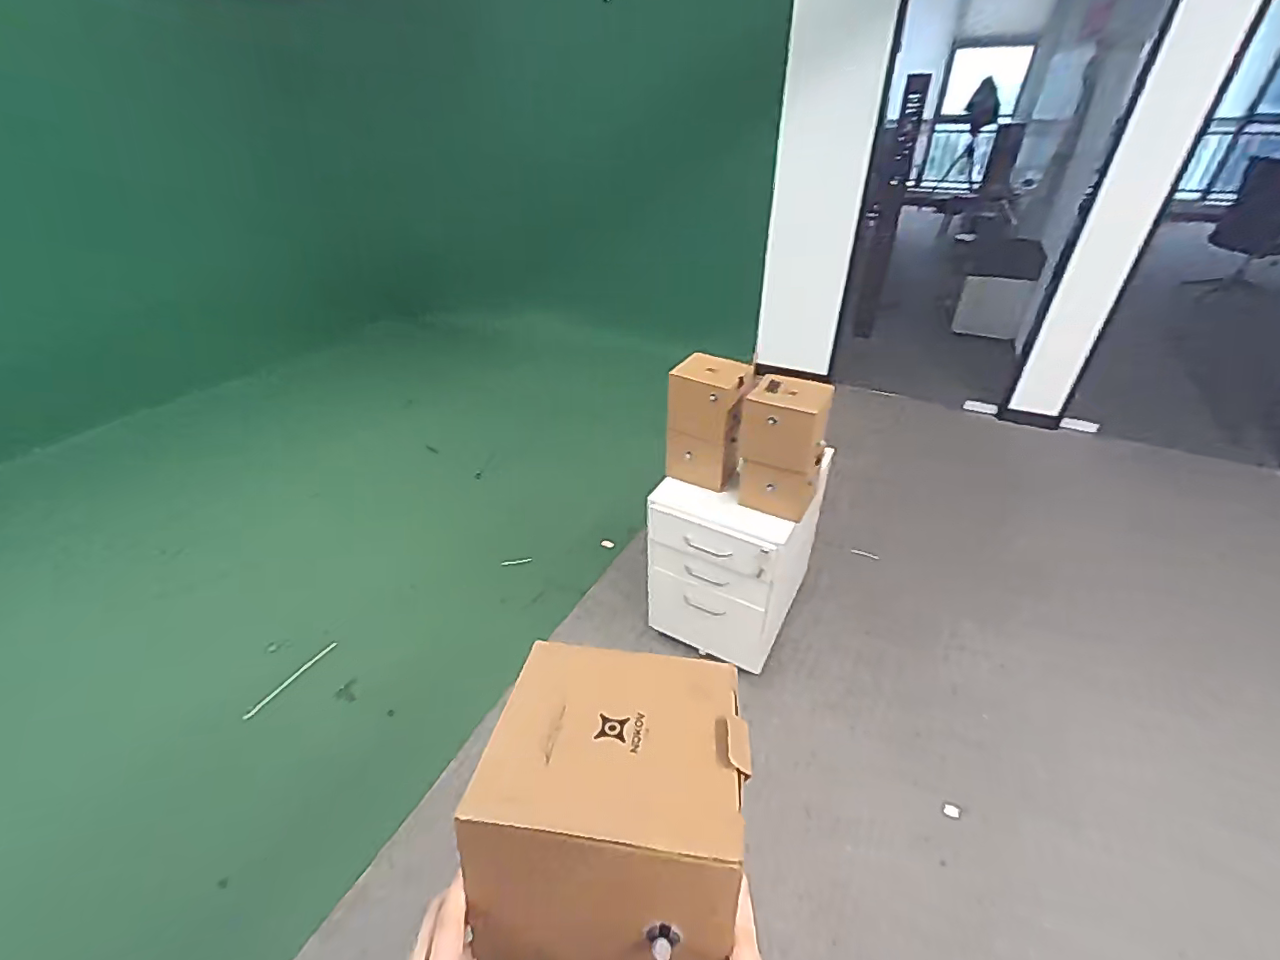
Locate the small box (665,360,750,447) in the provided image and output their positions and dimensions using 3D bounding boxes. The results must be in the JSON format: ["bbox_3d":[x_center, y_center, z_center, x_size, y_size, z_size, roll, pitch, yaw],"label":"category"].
[{"bbox_3d":[0.181,-0.210,1.491,0.179,0.176,0.168,21,40,23],"label":"small box"}]

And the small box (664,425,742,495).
[{"bbox_3d":[0.181,-0.078,1.589,0.179,0.176,0.168,19,40,22],"label":"small box"}]

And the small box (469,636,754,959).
[{"bbox_3d":[-0.012,0.251,0.425,0.179,0.176,0.168,4,21,6],"label":"small box"}]

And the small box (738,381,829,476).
[{"bbox_3d":[0.359,-0.131,1.375,0.179,0.176,0.168,17,39,25],"label":"small box"}]
